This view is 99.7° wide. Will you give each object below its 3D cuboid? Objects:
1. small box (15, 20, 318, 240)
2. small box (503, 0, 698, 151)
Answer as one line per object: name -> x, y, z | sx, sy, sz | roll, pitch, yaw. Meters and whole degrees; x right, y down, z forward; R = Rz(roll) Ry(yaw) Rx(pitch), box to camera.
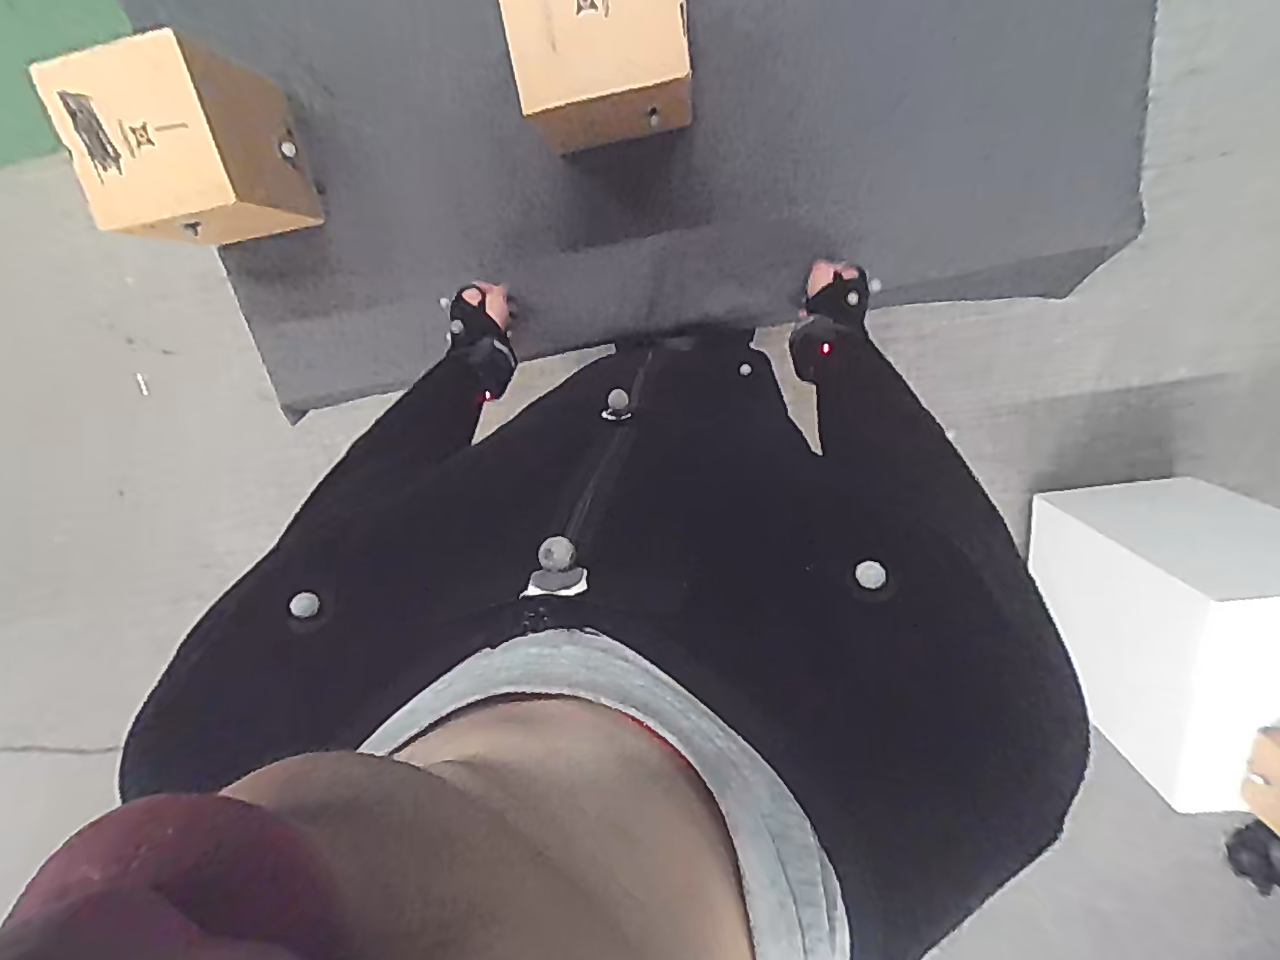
small box -> -0.532, -0.391, 0.639 | 0.179, 0.176, 0.168 | -9, 109, 5
small box -> -0.038, -0.480, 0.582 | 0.179, 0.176, 0.168 | -9, 108, 8
